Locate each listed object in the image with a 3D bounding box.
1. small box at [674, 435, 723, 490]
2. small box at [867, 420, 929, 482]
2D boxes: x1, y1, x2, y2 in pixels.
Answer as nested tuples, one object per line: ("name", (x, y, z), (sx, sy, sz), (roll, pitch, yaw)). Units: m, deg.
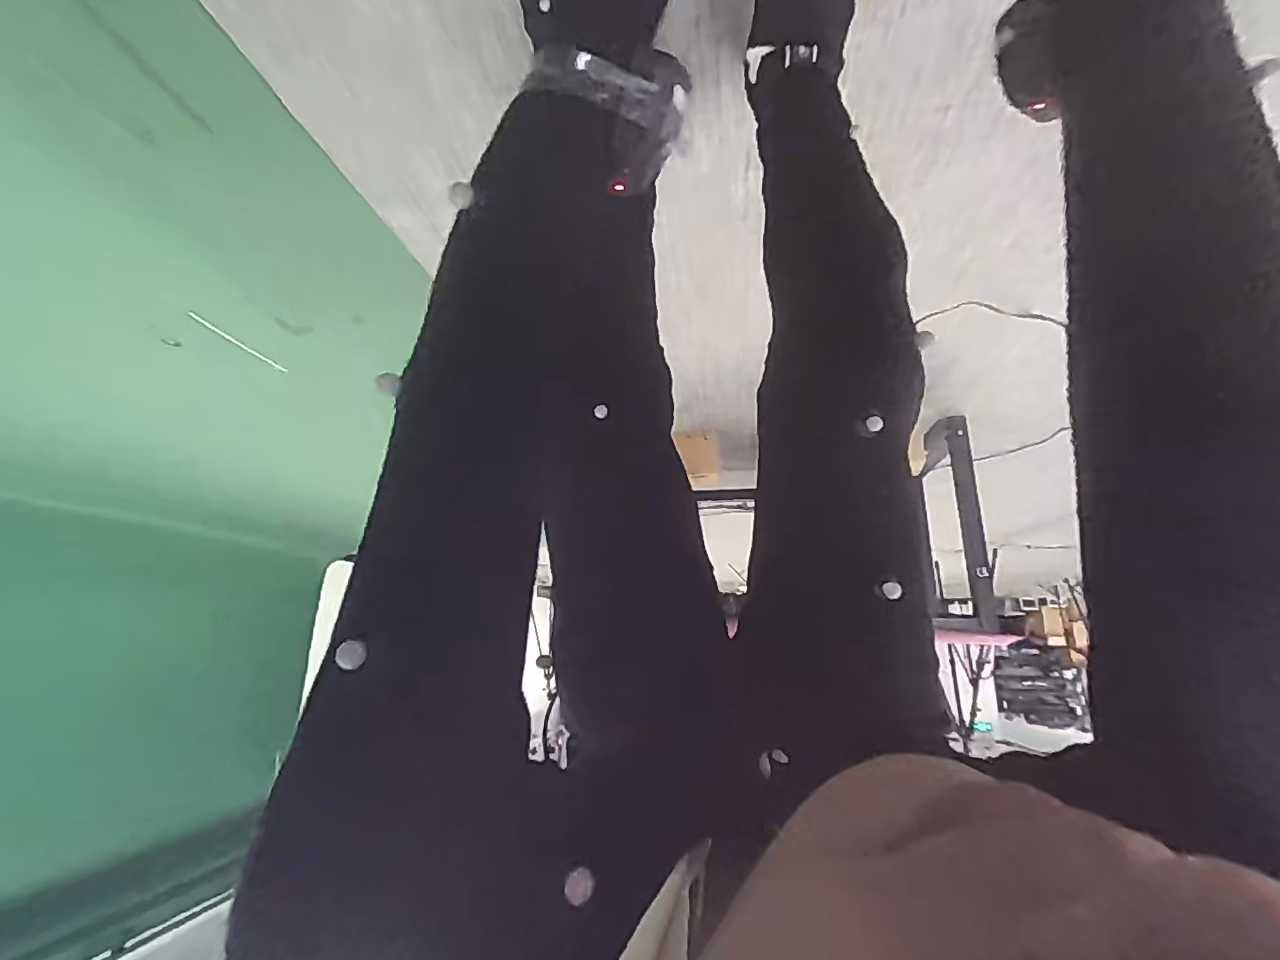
("small box", (0.218, -0.067, 2.026), (0.168, 0.176, 0.179), (-3, 164, 13))
("small box", (0.886, -0.103, 1.872), (0.168, 0.176, 0.179), (-5, 163, 18))
